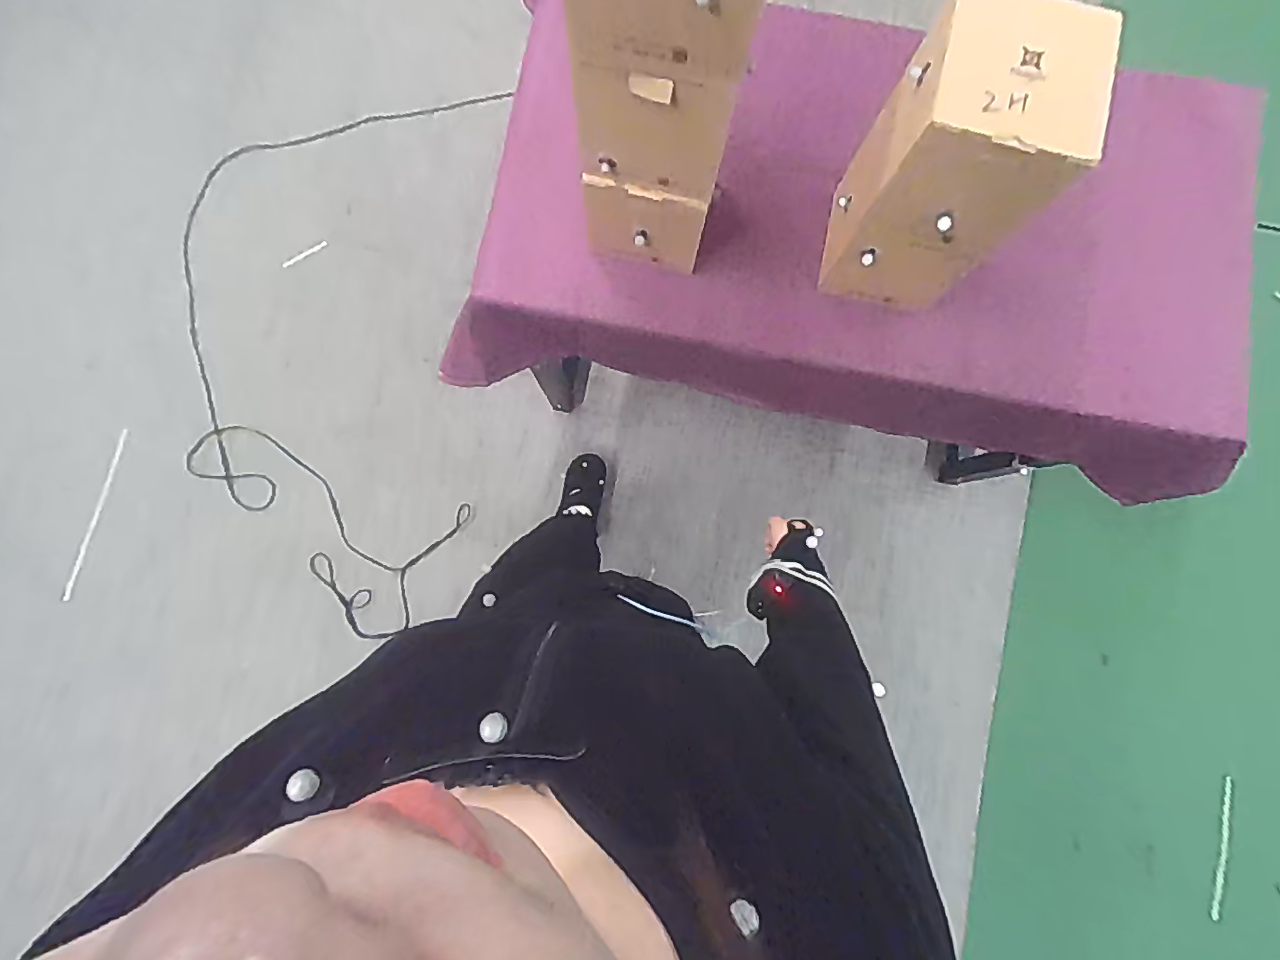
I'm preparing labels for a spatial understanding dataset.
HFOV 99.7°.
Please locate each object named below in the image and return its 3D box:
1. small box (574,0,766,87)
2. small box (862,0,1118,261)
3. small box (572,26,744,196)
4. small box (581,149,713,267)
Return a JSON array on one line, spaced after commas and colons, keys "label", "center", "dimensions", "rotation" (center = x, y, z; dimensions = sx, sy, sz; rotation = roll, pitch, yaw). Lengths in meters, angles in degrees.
[{"label": "small box", "center": [0.038, -0.474, 0.442], "dimensions": [0.168, 0.176, 0.179], "rotation": [13, 83, -2]}, {"label": "small box", "center": [0.374, -0.385, 0.608], "dimensions": [0.168, 0.176, 0.179], "rotation": [16, 83, 0]}, {"label": "small box", "center": [0.032, -0.458, 0.604], "dimensions": [0.168, 0.176, 0.179], "rotation": [15, 82, -1]}, {"label": "small box", "center": [0.022, -0.433, 0.766], "dimensions": [0.168, 0.176, 0.179], "rotation": [14, 84, -1]}]
